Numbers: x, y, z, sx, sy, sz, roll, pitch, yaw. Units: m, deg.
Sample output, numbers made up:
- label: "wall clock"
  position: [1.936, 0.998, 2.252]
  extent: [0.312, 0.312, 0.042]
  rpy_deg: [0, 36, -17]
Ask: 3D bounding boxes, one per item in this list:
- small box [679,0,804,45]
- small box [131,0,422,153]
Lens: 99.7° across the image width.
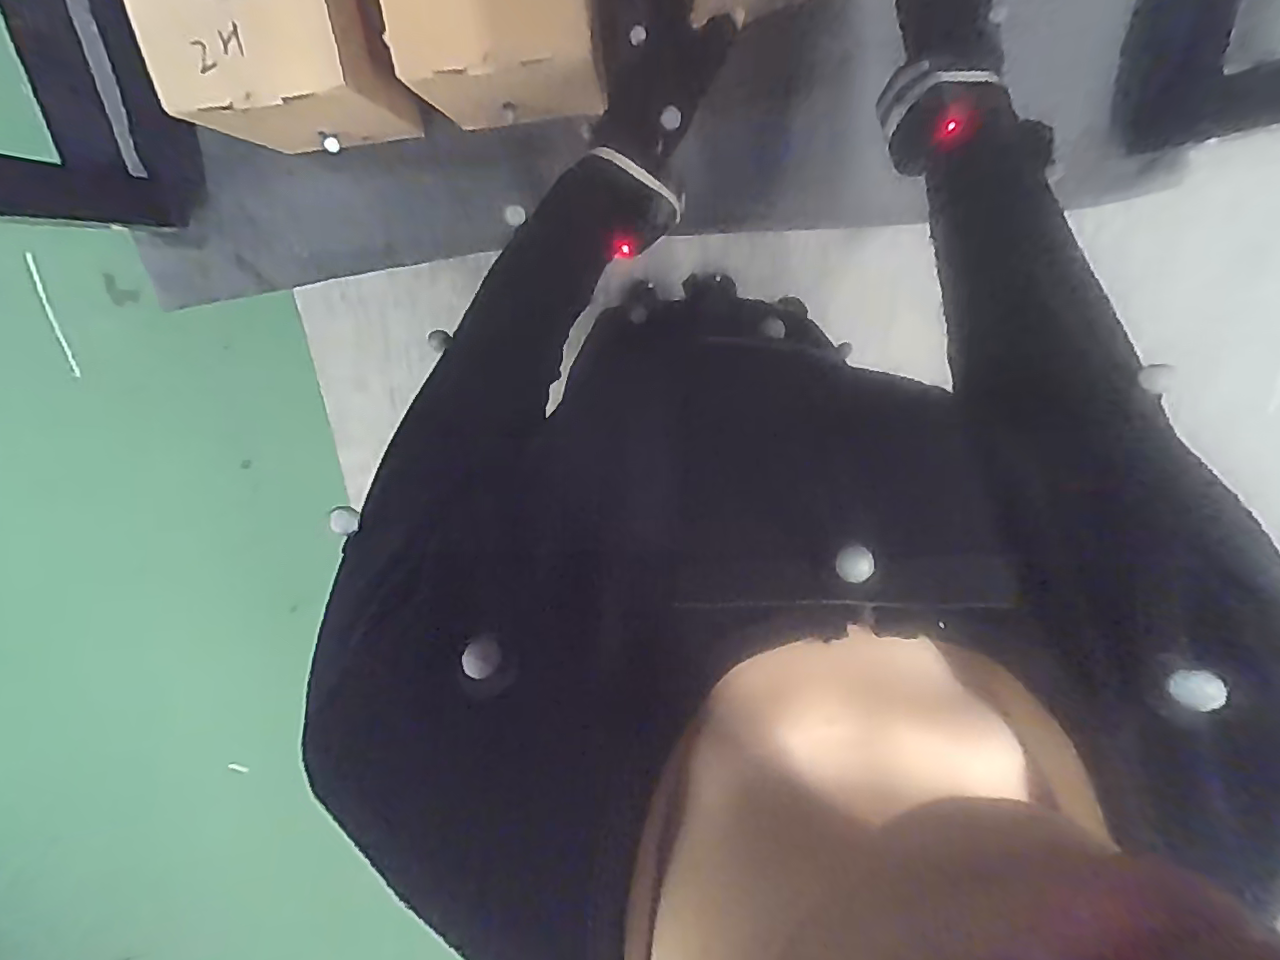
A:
- label: "small box"
  position: [0.107, -0.524, 0.458]
  extent: [0.179, 0.176, 0.168]
  rpy_deg: [-16, 110, 8]
- label: "small box"
  position: [-0.330, -0.431, 0.506]
  extent: [0.168, 0.176, 0.179]
  rpy_deg: [-5, 110, 3]
